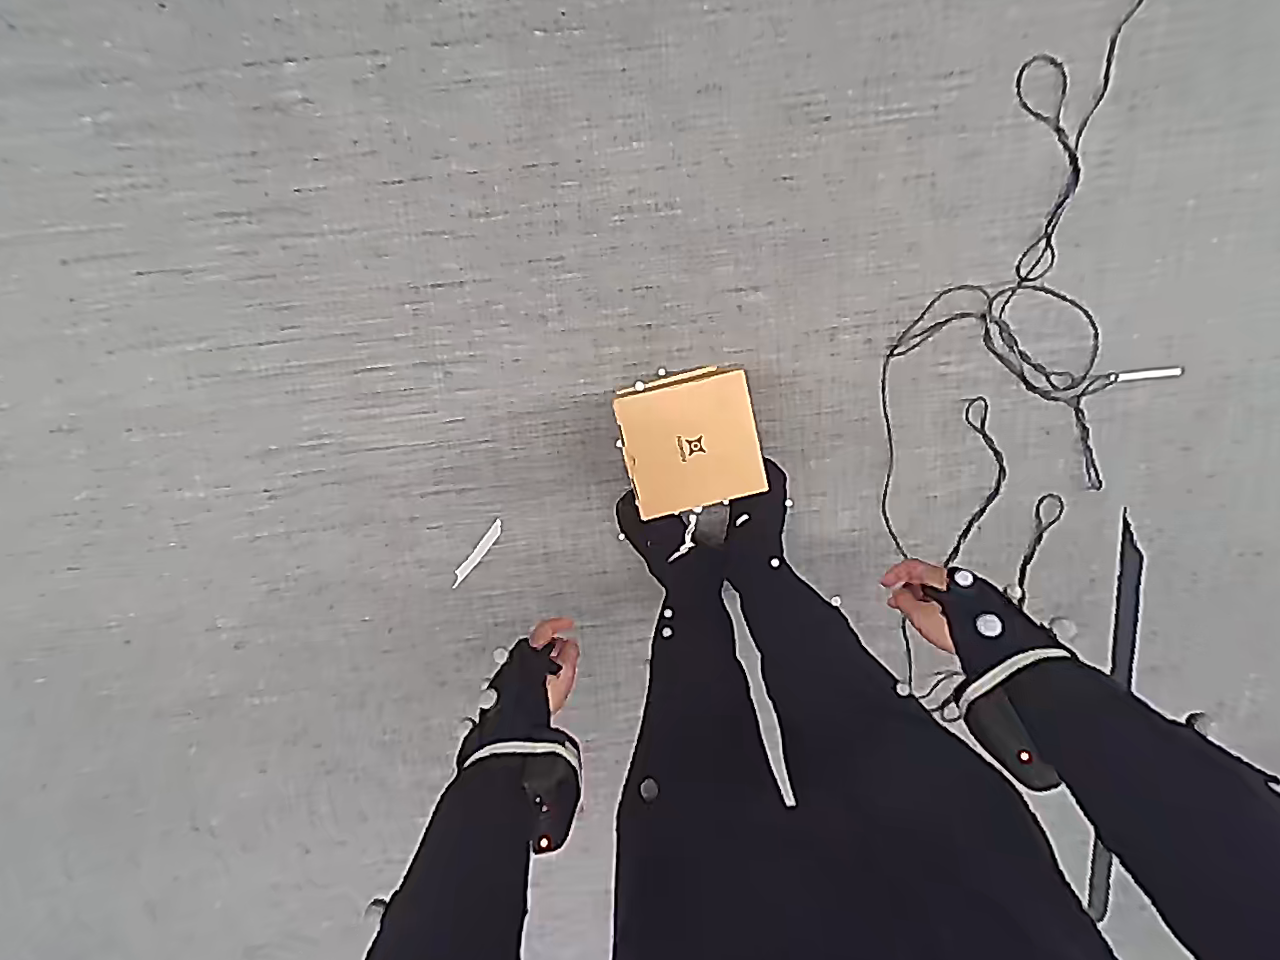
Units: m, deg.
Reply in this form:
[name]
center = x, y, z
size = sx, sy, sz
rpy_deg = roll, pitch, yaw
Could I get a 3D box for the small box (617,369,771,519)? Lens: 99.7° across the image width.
[small box]
center = 0.069, -0.061, 0.775
size = 0.179, 0.176, 0.168
rpy_deg = -14, 101, 2
